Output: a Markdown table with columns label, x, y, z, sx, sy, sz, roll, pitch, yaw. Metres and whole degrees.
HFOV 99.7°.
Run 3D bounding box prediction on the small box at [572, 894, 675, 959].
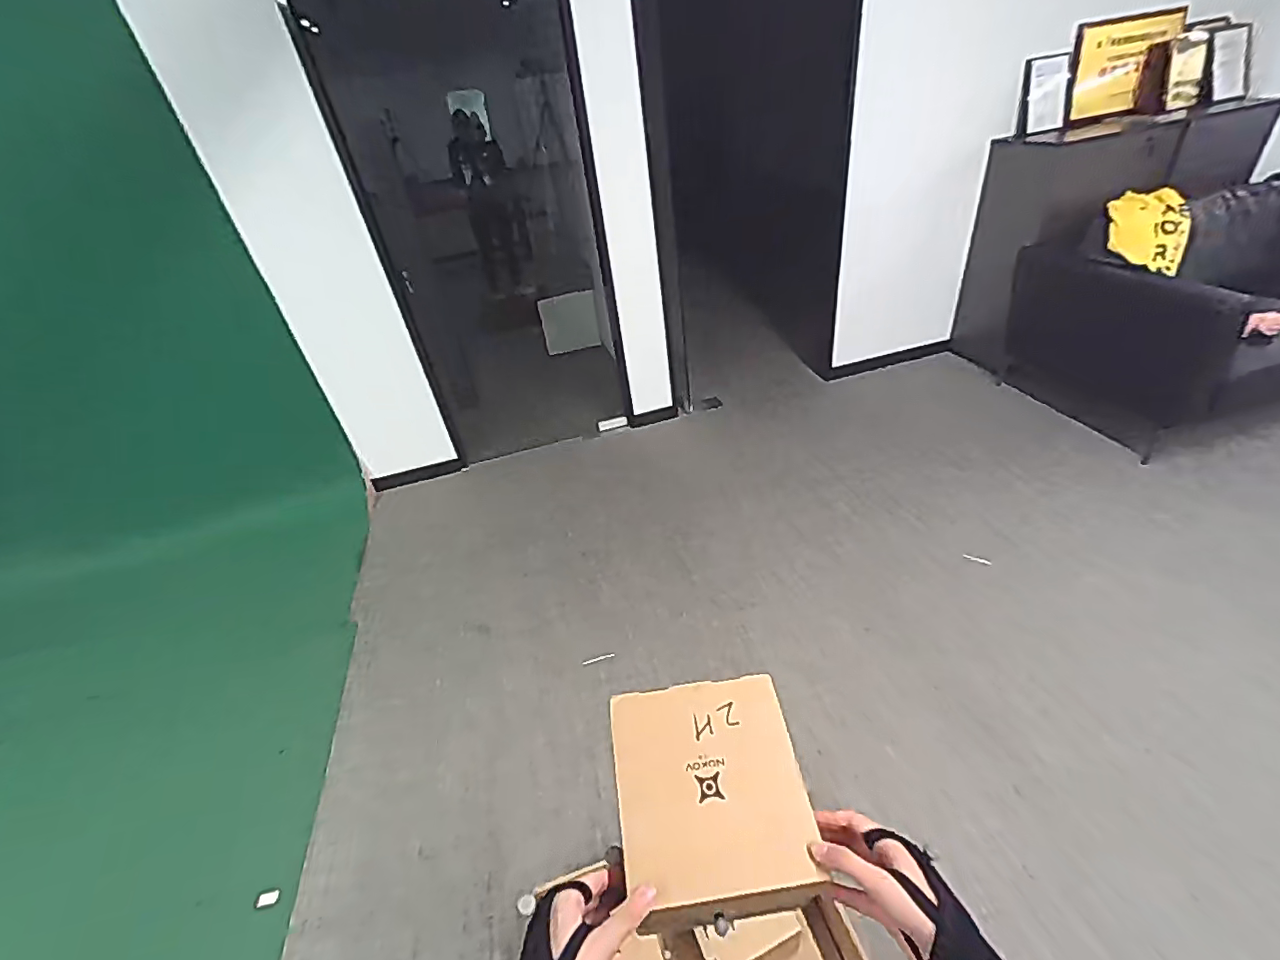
| label | x | y | z | sx | sy | sz | roll | pitch | yaw |
| --- | --- | --- | --- | --- | --- | --- | --- | --- | --- |
| small box | -0.024 | 0.977 | 1.102 | 0.179 | 0.176 | 0.168 | -17 | 38 | -11 |

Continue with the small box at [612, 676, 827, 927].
| label | x | y | z | sx | sy | sz | roll | pitch | yaw |
| --- | --- | --- | --- | --- | --- | --- | --- | --- | --- |
| small box | 0.066 | 0.324 | 0.542 | 0.168 | 0.176 | 0.179 | -7 | 45 | -3 |

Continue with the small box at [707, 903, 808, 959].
| label | x | y | z | sx | sy | sz | roll | pitch | yaw |
| --- | --- | --- | --- | --- | --- | --- | --- | --- | --- |
| small box | 0.231 | 0.910 | 1.131 | 0.179 | 0.176 | 0.168 | -20 | 38 | -13 |
